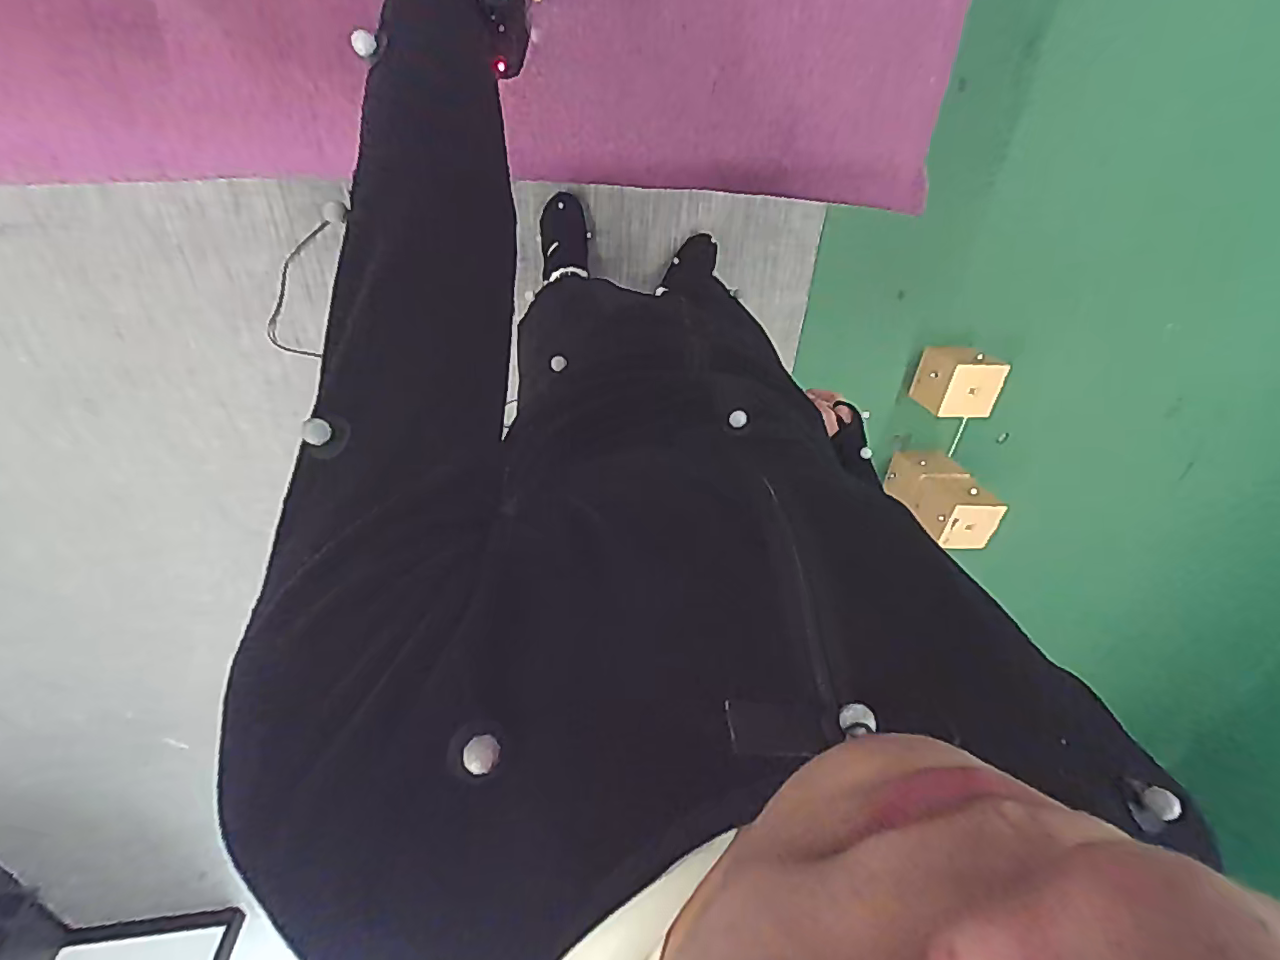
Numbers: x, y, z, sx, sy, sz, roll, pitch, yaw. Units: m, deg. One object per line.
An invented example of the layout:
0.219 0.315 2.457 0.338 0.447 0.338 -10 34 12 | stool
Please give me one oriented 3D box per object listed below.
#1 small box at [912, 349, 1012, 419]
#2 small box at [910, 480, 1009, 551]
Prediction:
0.972 -0.295 1.653 0.179 0.176 0.168 -1 122 -9 | small box
1.003 0.110 1.714 0.179 0.176 0.168 2 122 -10 | small box
